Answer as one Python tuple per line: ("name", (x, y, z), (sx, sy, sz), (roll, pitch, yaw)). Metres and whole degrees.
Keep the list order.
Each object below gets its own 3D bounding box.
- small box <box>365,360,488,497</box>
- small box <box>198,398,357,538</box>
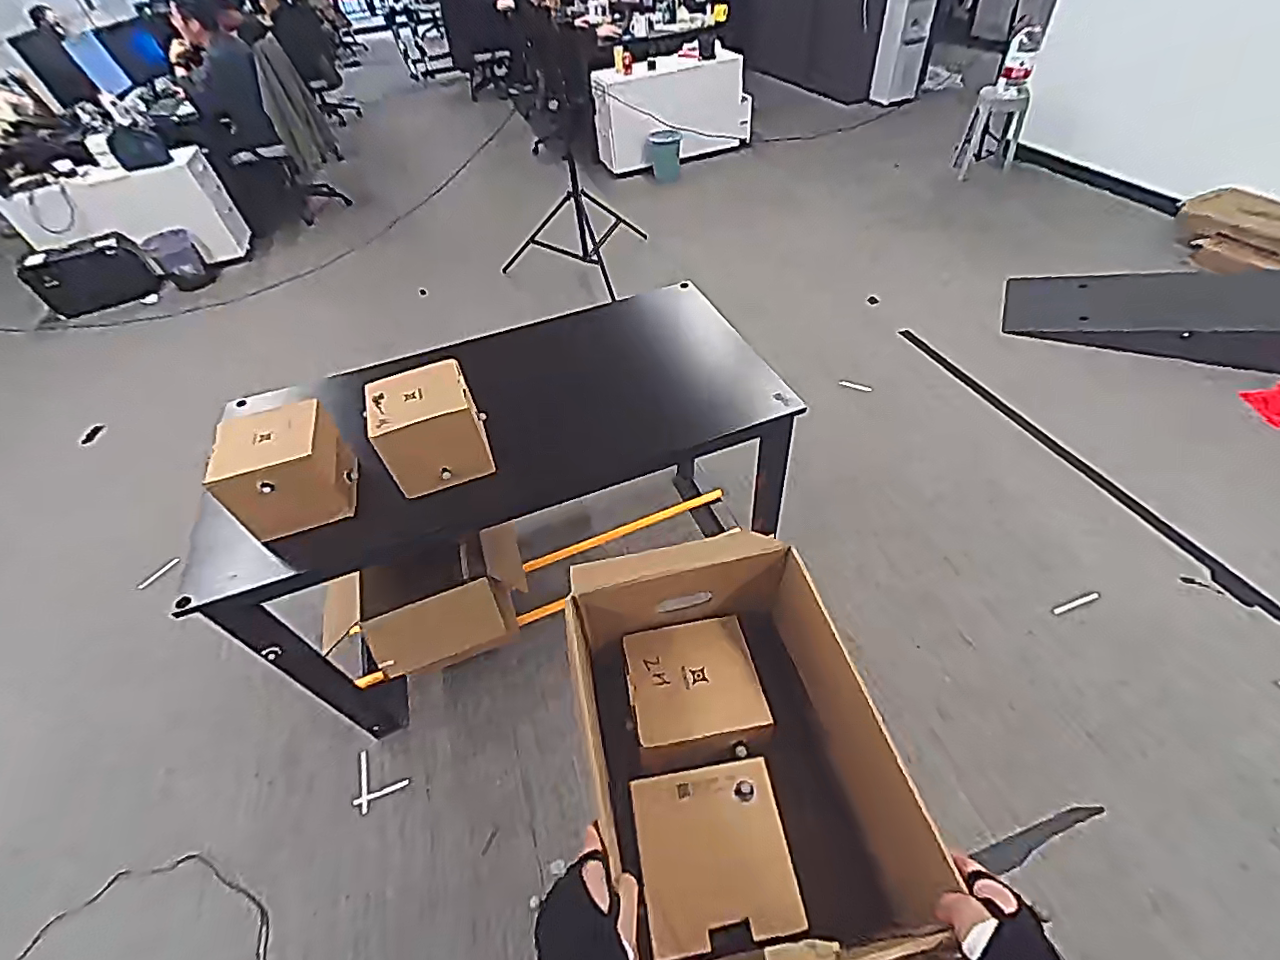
("small box", (-0.401, -0.097, 1.035), (0.179, 0.176, 0.168), (-19, 48, -11))
("small box", (-0.648, -0.018, 0.992), (0.179, 0.176, 0.168), (-17, 49, -10))
